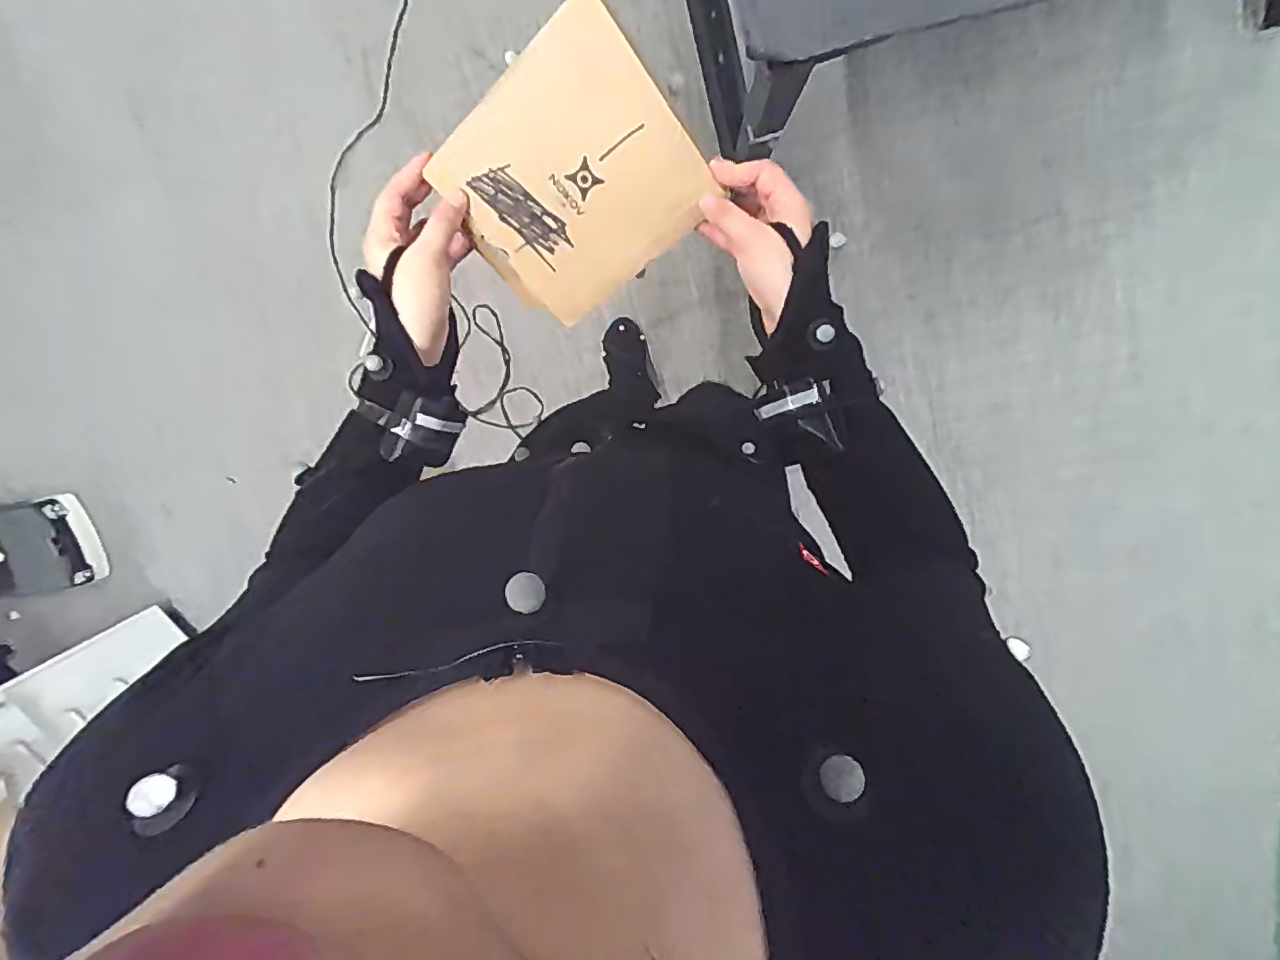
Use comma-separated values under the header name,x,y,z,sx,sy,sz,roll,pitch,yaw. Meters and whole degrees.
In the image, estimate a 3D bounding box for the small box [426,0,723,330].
name,x,y,z,sx,sy,sz,roll,pitch,yaw
small box,-0.047,-0.274,0.481,0.179,0.176,0.168,-32,122,24

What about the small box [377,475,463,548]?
name,x,y,z,sx,sy,sz,roll,pitch,yaw
small box,-0.613,0.101,1.492,0.179,0.176,0.168,-17,104,9
